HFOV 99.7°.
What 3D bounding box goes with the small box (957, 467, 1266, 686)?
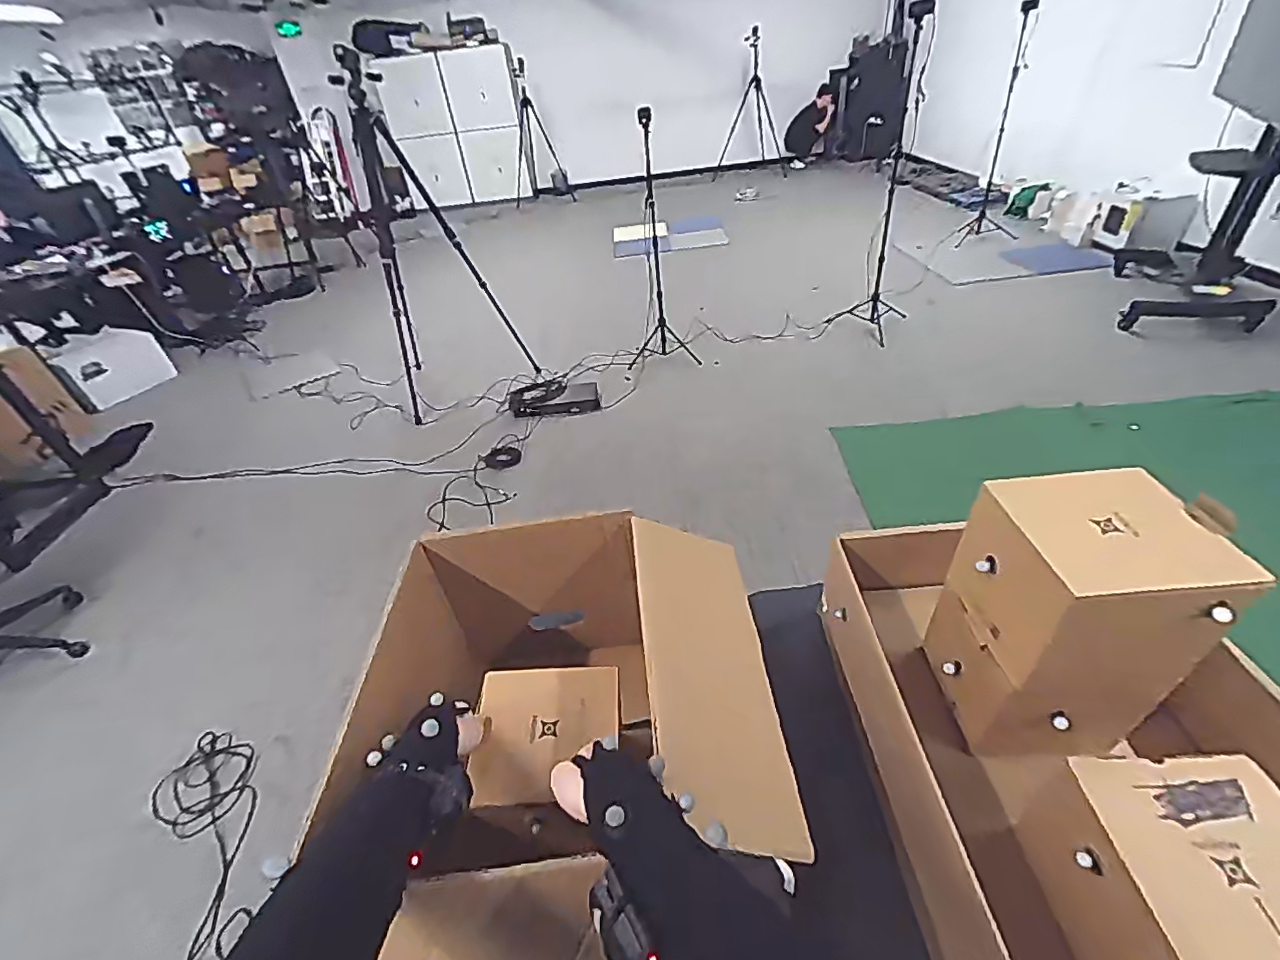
[{"bbox_3d":[0.478,0.108,0.593,0.179,0.176,0.168,-6,40,2],"label":"small box"}]
